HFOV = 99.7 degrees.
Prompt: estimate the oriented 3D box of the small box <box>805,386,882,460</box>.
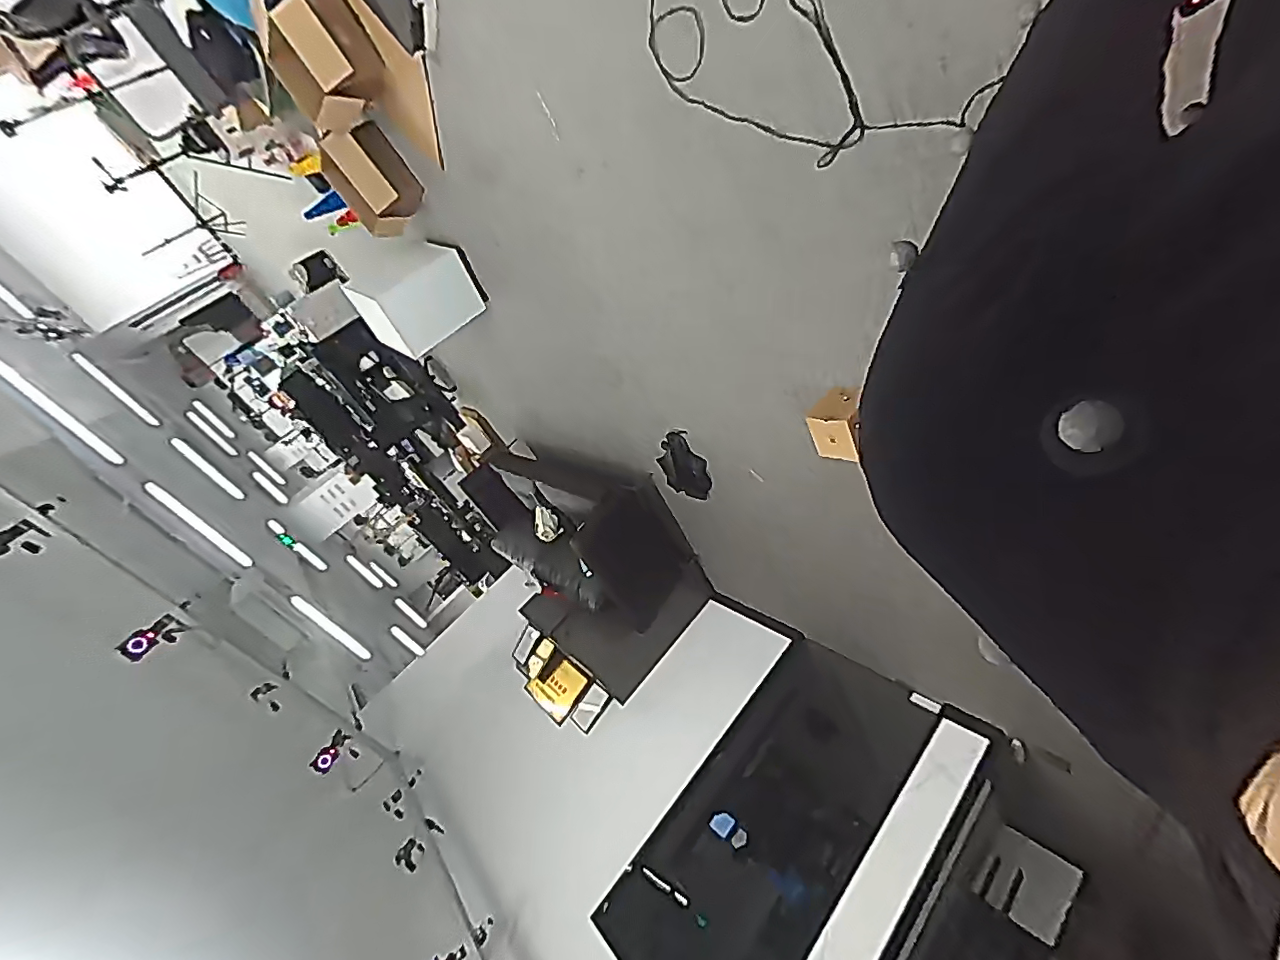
[{"bbox_3d":[0.699,-0.197,1.845,0.168,0.176,0.179,17,145,52],"label":"small box"}]
